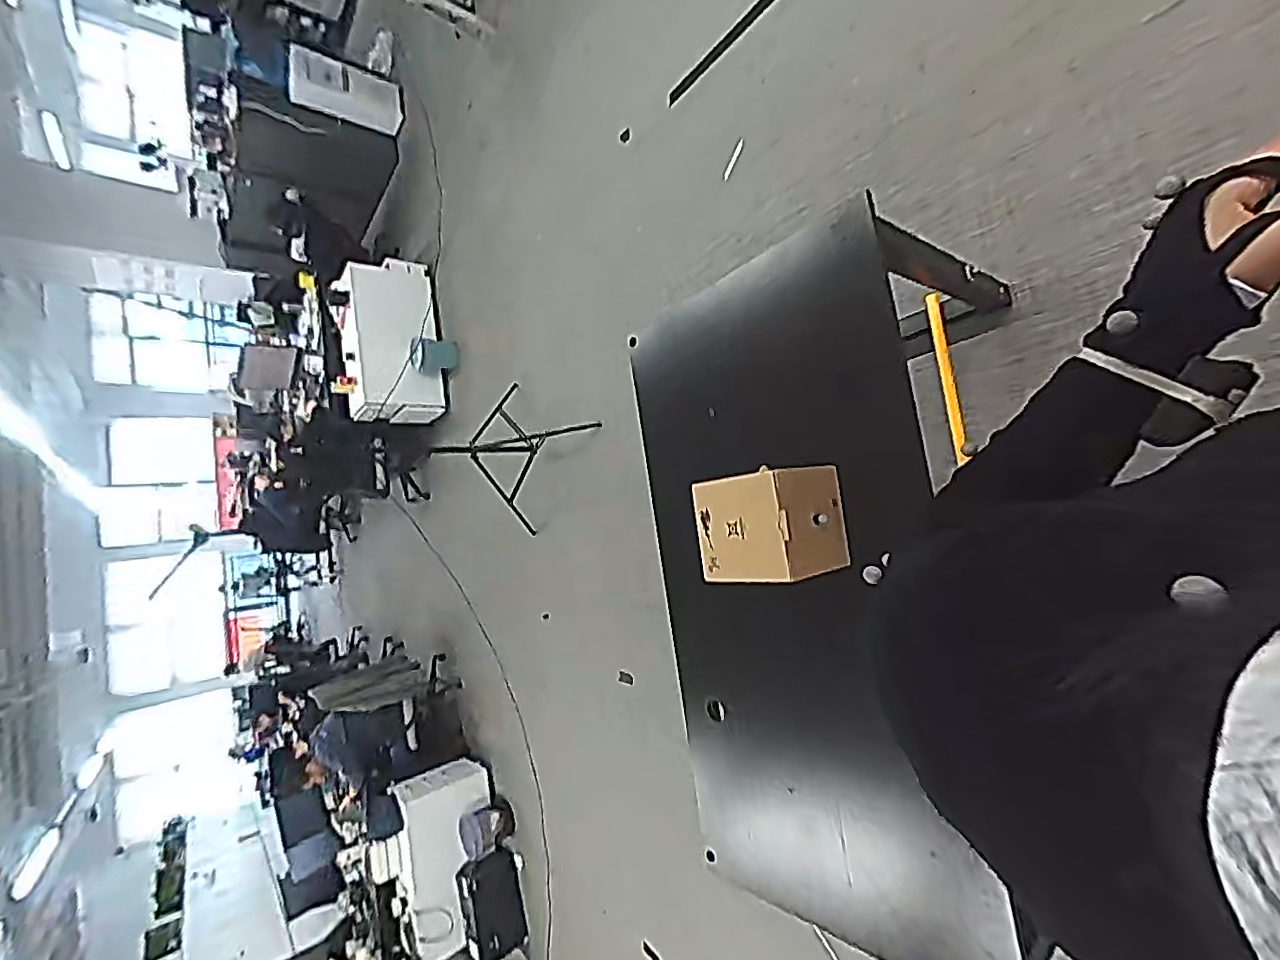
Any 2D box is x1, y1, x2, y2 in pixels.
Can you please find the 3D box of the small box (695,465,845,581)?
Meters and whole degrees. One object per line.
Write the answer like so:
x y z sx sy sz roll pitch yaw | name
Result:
0.219 0.070 0.894 0.179 0.176 0.168 -12 84 50 | small box
